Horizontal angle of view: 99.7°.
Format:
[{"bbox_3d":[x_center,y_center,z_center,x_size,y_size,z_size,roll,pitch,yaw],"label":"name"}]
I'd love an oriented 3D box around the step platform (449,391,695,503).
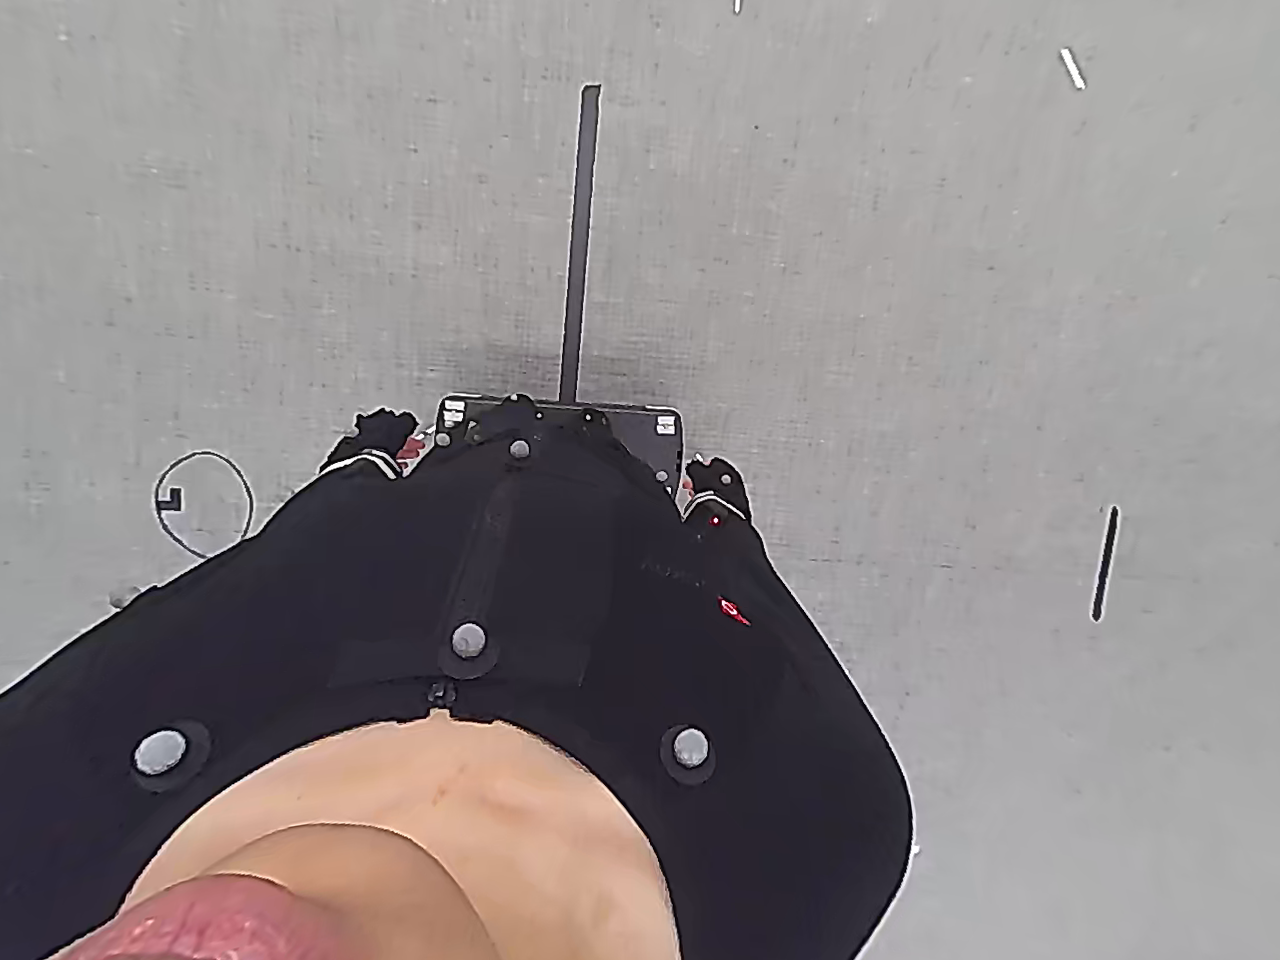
[{"bbox_3d":[-0.186,-0.094,1.550,0.684,0.204,0.286,2,98,-6],"label":"step platform"}]
